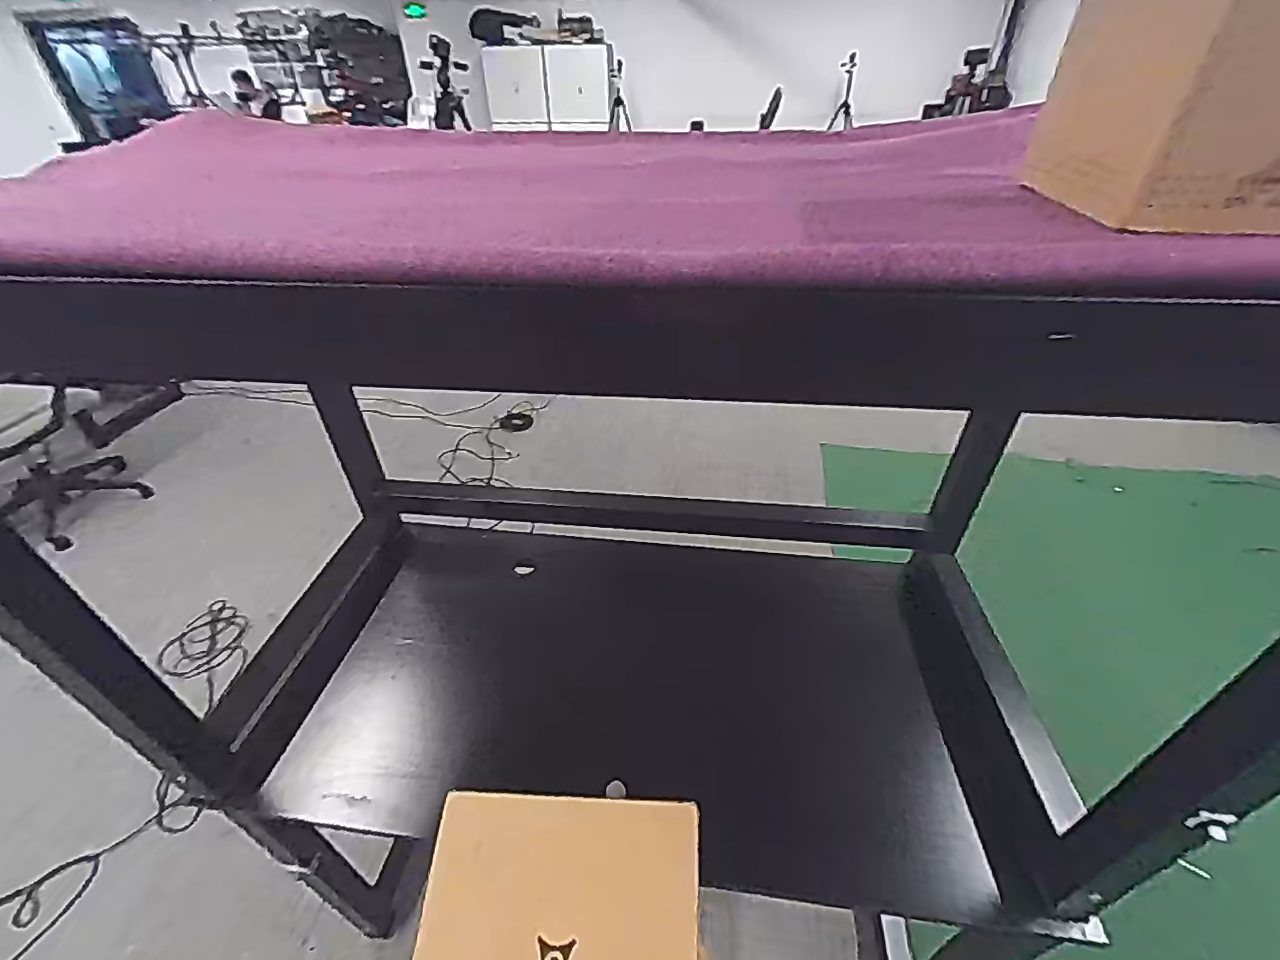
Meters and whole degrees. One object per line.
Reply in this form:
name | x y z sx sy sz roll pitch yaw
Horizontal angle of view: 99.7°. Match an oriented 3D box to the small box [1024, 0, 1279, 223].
small box | 0.349 -0.246 0.293 0.168 0.176 0.179 6 39 12
